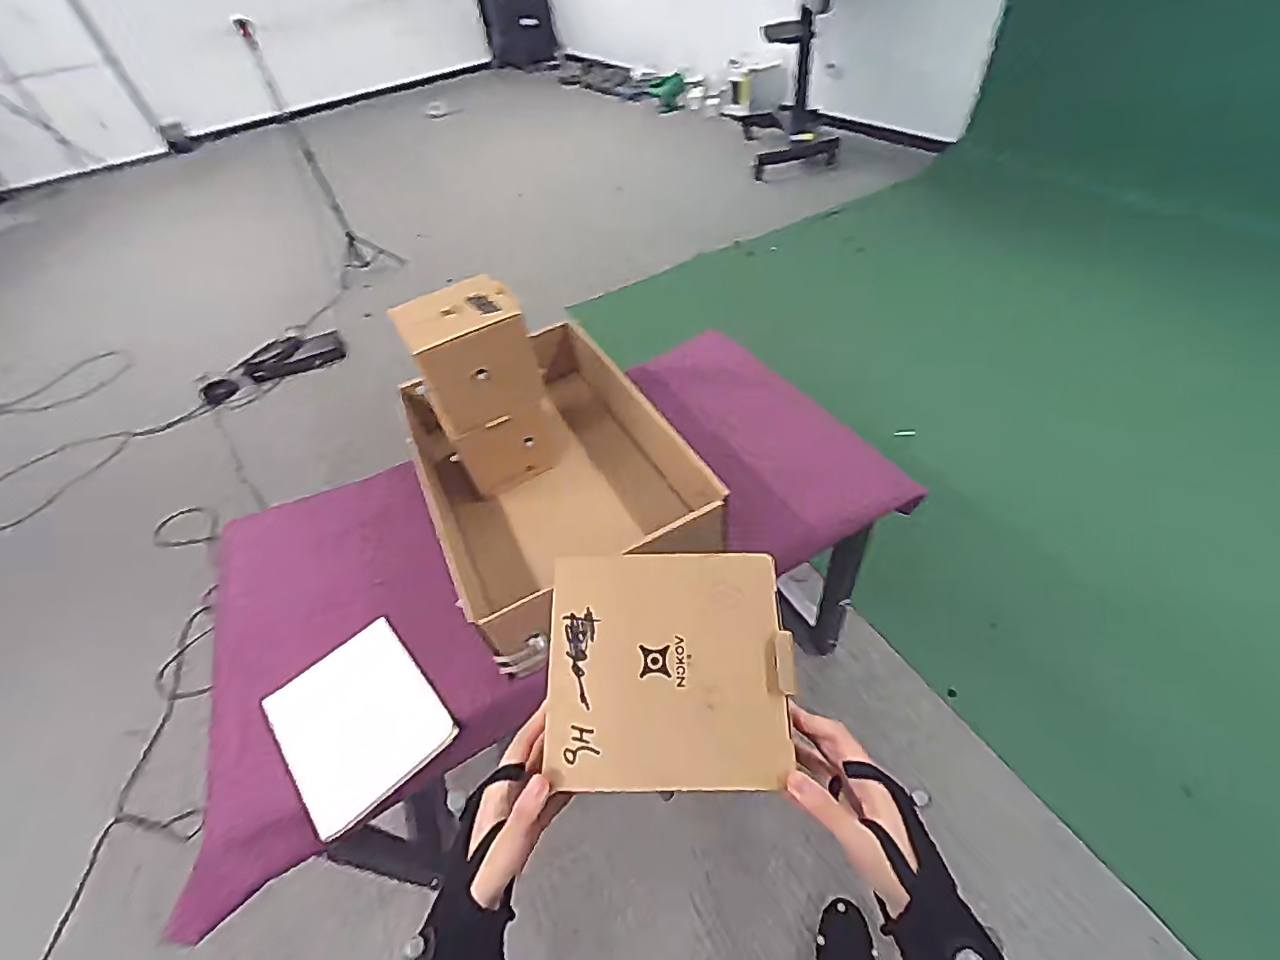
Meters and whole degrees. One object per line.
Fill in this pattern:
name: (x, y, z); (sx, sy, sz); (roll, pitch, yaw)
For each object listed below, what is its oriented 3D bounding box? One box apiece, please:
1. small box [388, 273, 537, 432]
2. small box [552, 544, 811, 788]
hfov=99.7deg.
small box: (-0.288, -0.214, 0.910); (0.179, 0.176, 0.168); (-28, 50, -16)
small box: (0.029, 0.161, 0.464); (0.179, 0.176, 0.168); (1, 64, 0)
